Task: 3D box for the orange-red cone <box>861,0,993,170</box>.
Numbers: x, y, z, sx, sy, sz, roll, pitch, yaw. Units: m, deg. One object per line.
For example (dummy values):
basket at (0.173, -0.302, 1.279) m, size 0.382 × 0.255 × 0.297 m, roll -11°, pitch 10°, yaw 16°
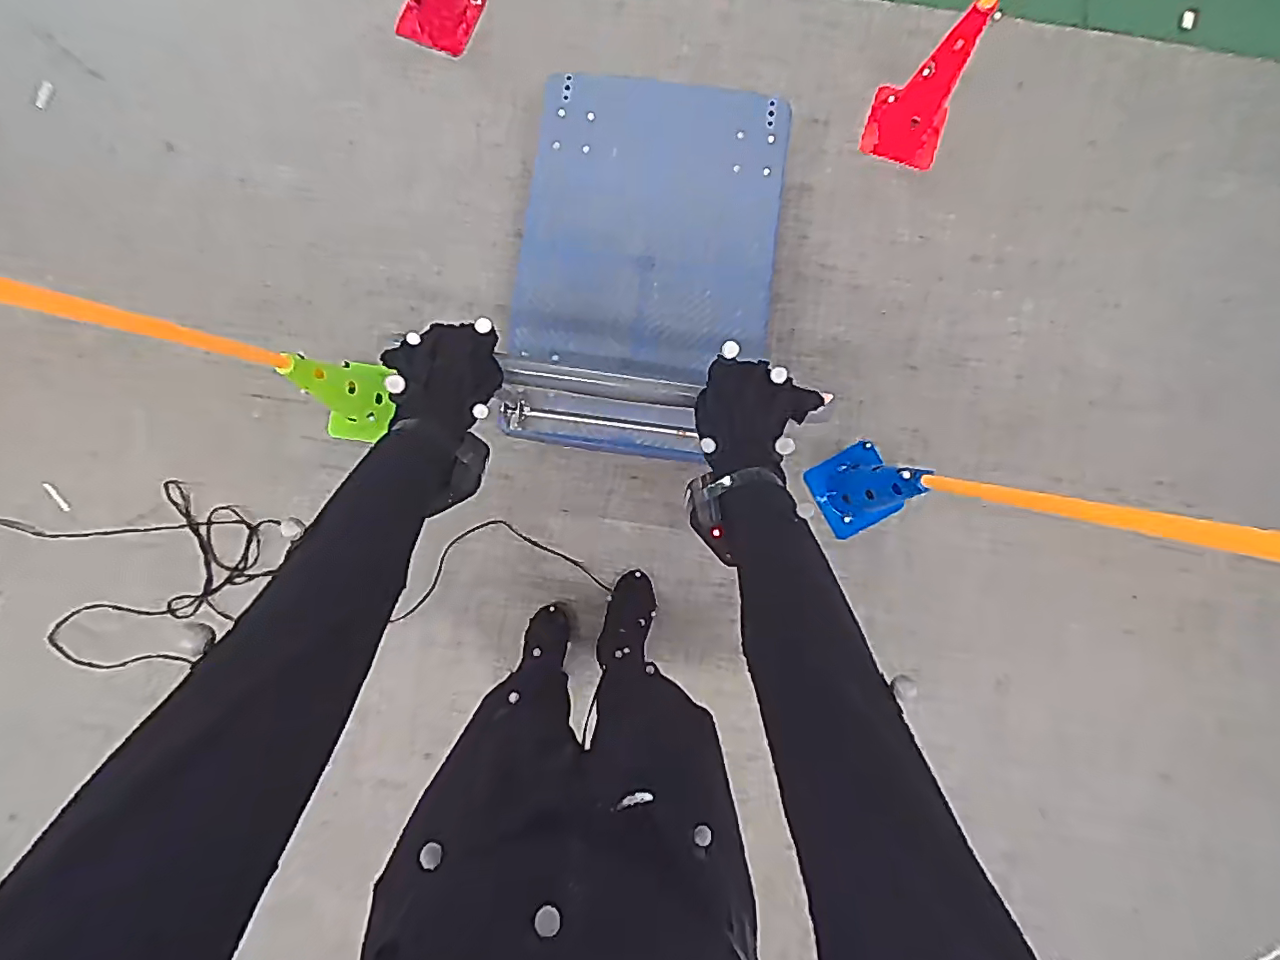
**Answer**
orange-red cone at (0.707, -0.953, 1.276) m, size 0.198 × 0.360 × 0.199 m, roll 20°, pitch 86°, yaw 2°
